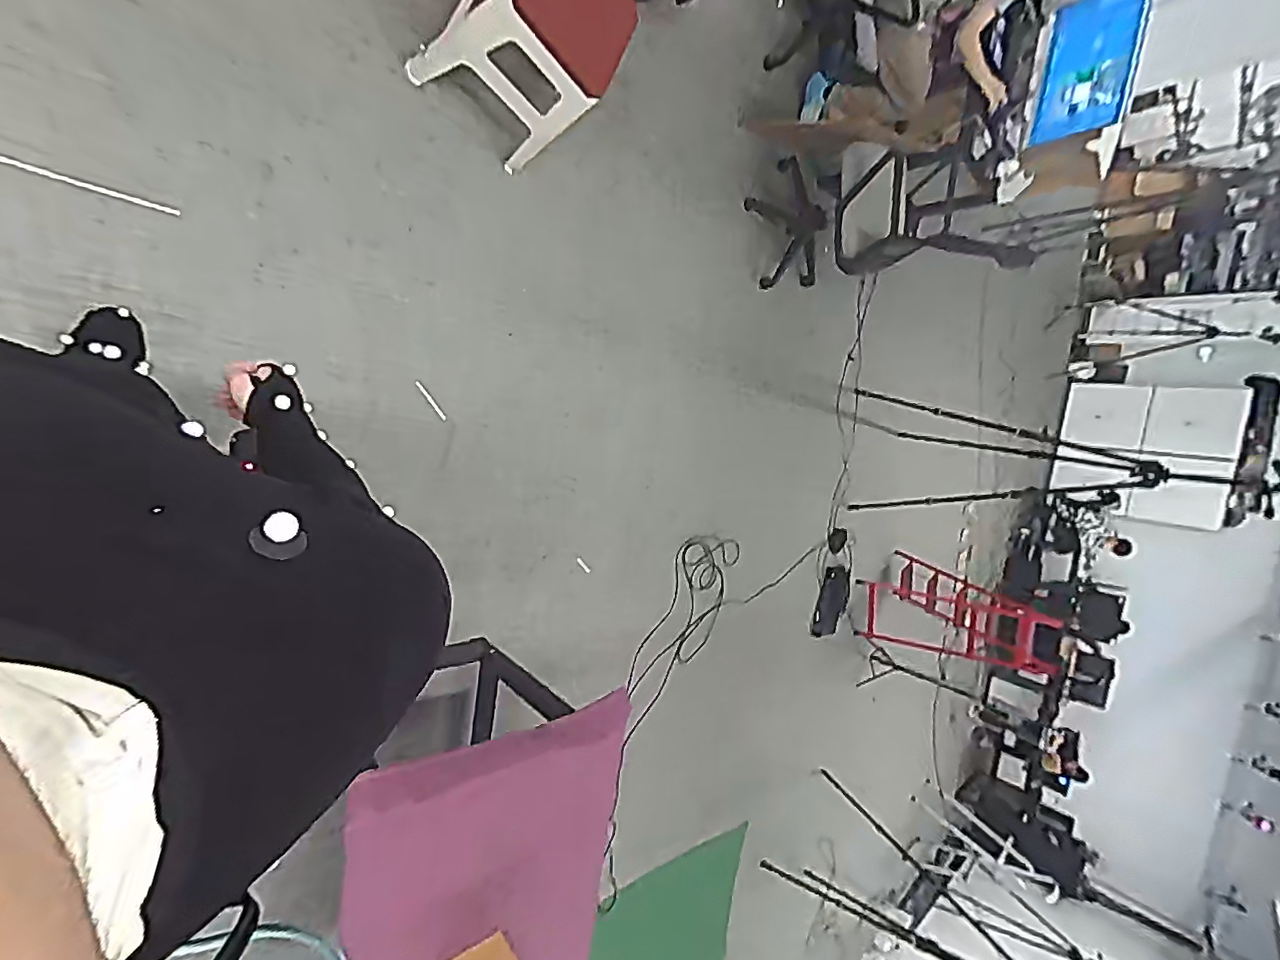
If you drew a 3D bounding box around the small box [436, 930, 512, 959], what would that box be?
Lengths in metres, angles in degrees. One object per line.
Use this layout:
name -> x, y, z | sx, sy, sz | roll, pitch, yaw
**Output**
small box -> -0.351, 1.103, 1.124 | 0.179, 0.176, 0.168 | 2, 98, -43
